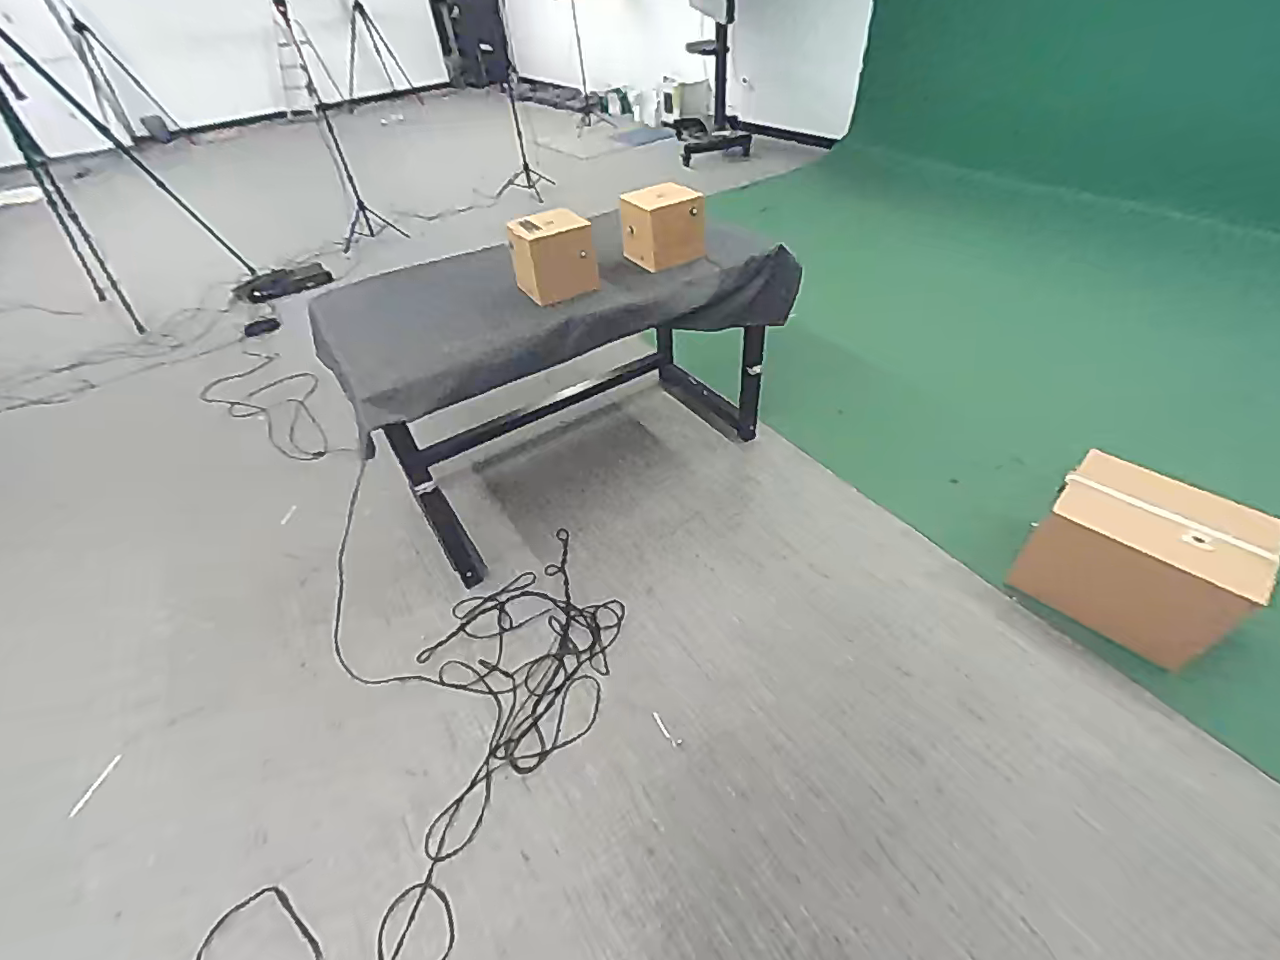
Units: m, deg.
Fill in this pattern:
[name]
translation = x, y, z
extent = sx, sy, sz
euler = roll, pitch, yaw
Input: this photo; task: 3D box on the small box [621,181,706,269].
[small box]
translation = 0.069, -0.705, 1.500
extent = 0.179, 0.176, 0.168
euler = -25, 47, -19
